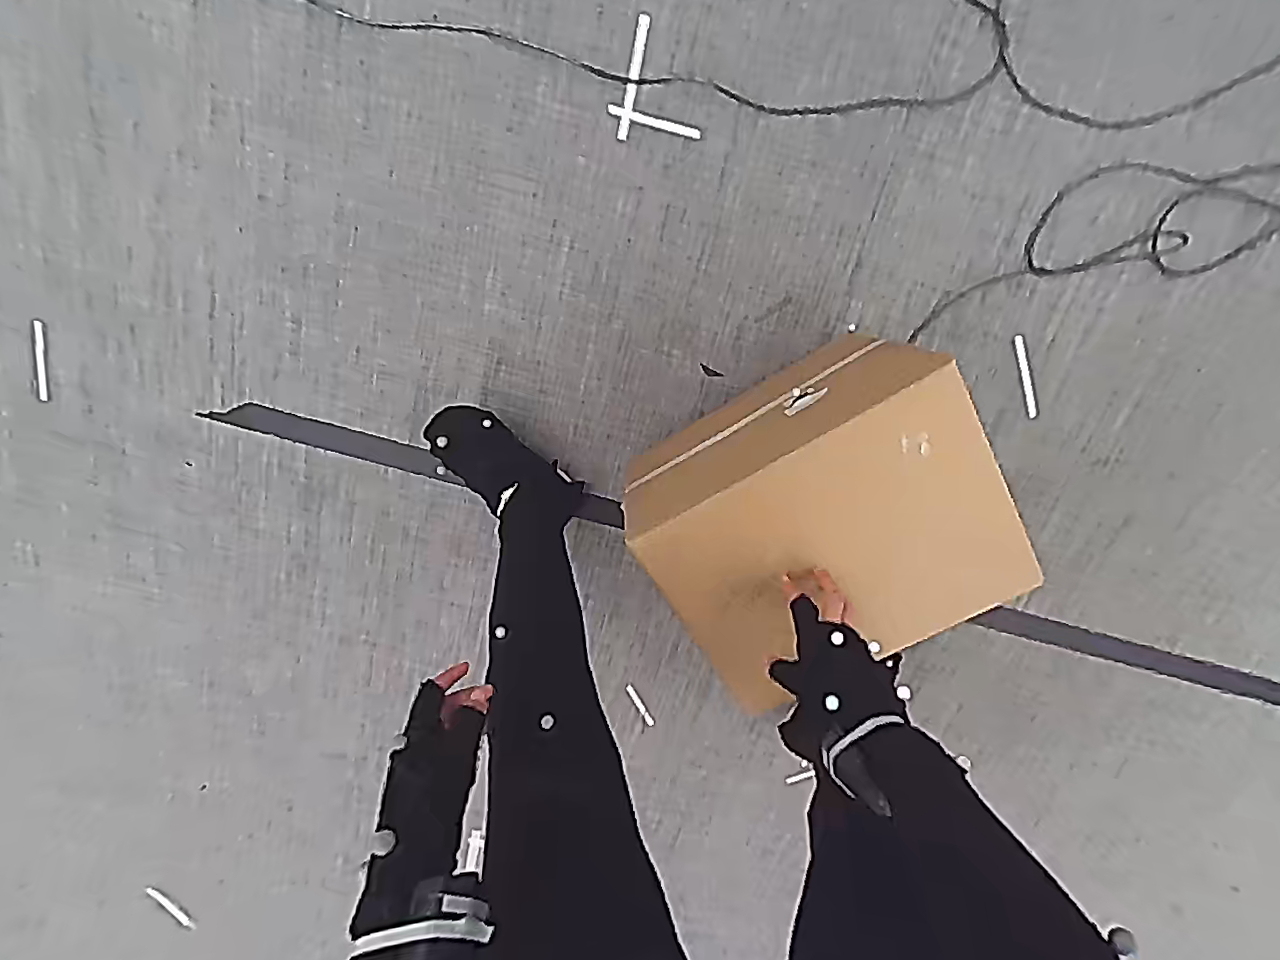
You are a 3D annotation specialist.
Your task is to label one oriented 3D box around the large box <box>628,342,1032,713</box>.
[{"bbox_3d":[0.233,0.051,0.784,0.408,0.320,0.320,-30,107,11],"label":"large box"}]
